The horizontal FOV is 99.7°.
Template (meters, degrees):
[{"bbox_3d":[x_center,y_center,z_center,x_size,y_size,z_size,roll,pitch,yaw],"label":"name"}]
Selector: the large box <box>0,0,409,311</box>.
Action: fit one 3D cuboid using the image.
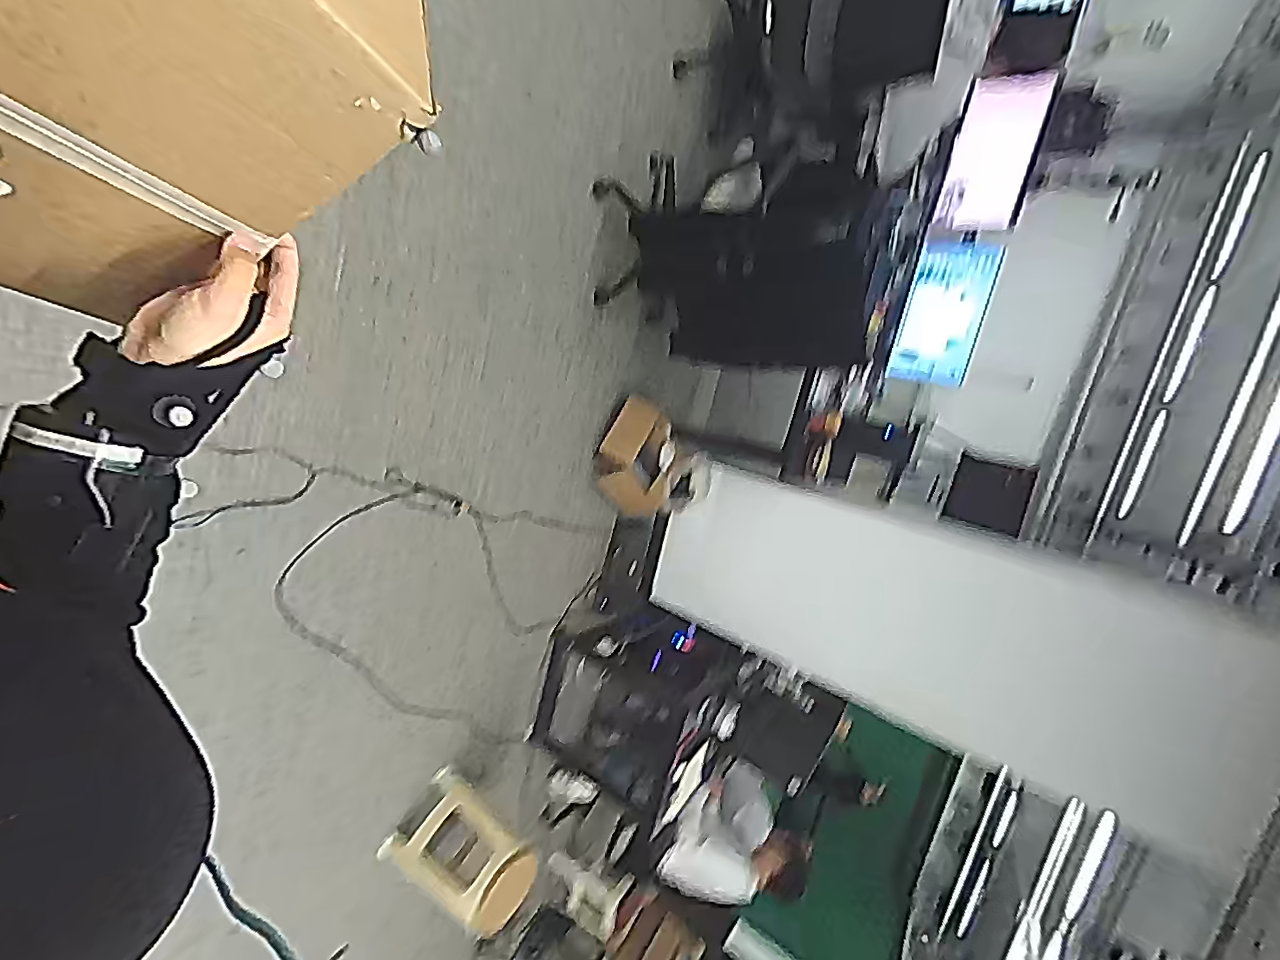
[{"bbox_3d":[-0.380,-0.344,0.228,0.408,0.320,0.320,17,59,-61],"label":"large box"}]
